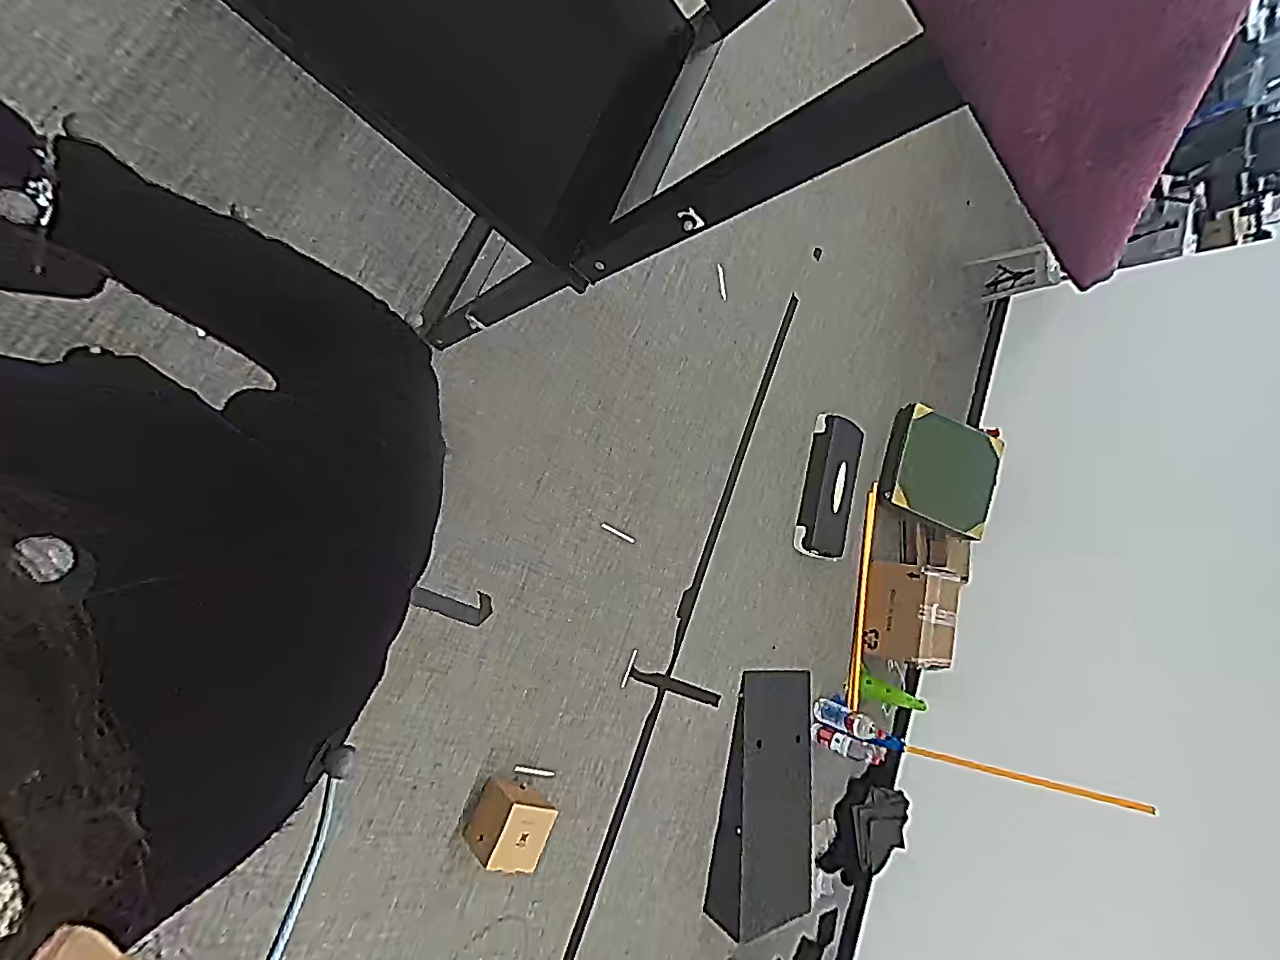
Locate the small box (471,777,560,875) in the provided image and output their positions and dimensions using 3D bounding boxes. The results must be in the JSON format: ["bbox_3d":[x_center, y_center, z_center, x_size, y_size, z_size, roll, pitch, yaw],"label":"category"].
[{"bbox_3d":[-0.369,1.003,1.576,0.168,0.176,0.179,35,71,-34],"label":"small box"}]
